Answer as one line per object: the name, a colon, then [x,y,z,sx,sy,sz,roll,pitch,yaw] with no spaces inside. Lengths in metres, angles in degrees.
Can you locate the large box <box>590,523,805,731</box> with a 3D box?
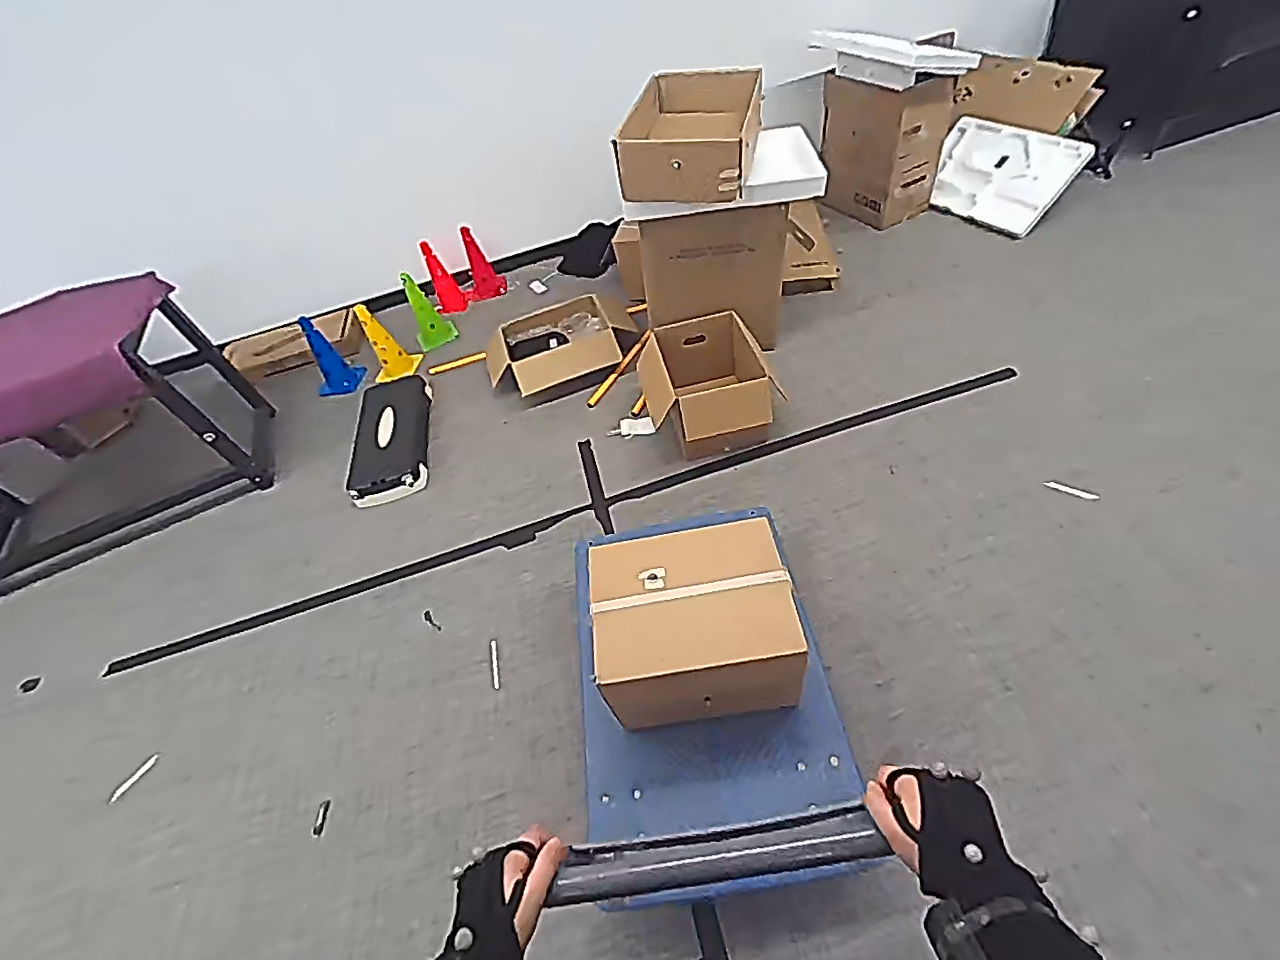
large box: [0.125,0.341,1.228,0.408,0.320,0.320,-11,48,4]
